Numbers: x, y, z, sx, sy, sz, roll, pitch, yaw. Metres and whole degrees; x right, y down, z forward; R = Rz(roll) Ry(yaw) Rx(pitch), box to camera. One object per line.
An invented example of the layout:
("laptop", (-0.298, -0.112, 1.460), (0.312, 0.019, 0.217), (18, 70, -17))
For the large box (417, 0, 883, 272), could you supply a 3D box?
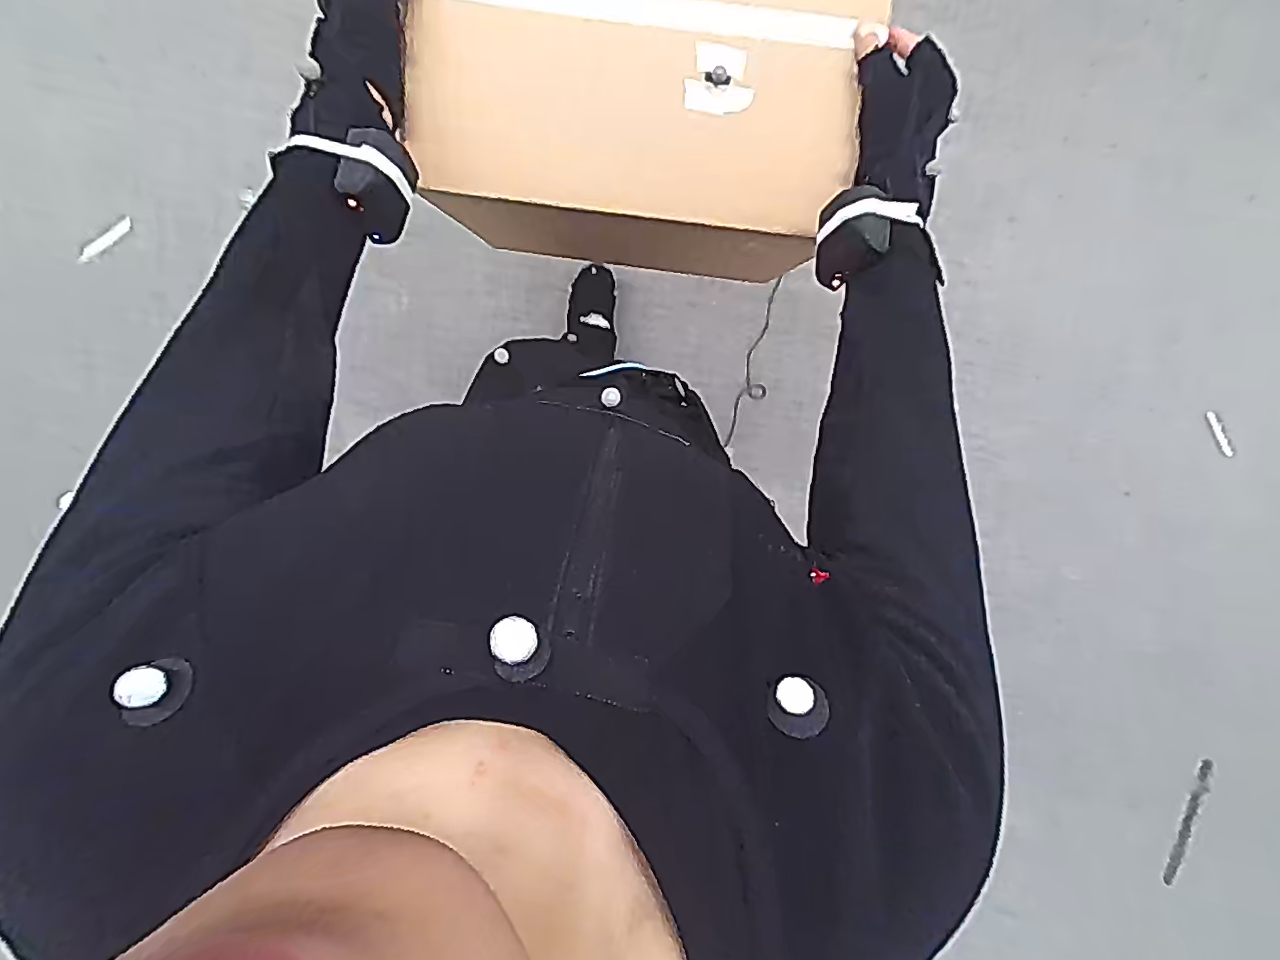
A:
("large box", (0.005, -0.436, 0.608), (0.408, 0.320, 0.320), (6, 104, -3))
